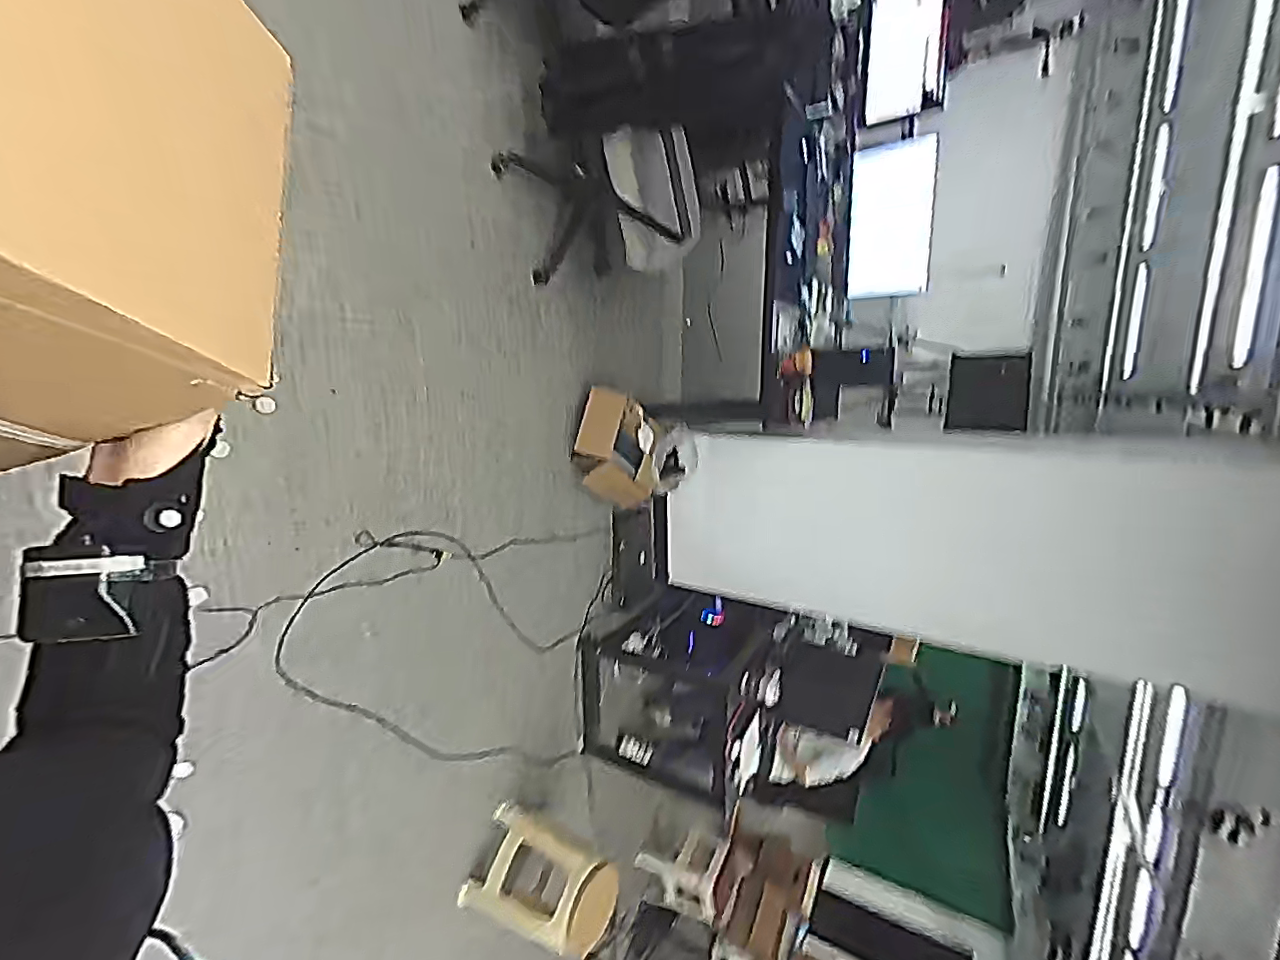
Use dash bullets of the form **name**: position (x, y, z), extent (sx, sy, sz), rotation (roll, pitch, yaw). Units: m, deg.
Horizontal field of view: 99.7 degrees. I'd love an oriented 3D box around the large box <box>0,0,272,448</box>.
- **large box**: position (-0.452, -0.231, 0.225), extent (0.408, 0.320, 0.320), rotation (45, 35, -71)
